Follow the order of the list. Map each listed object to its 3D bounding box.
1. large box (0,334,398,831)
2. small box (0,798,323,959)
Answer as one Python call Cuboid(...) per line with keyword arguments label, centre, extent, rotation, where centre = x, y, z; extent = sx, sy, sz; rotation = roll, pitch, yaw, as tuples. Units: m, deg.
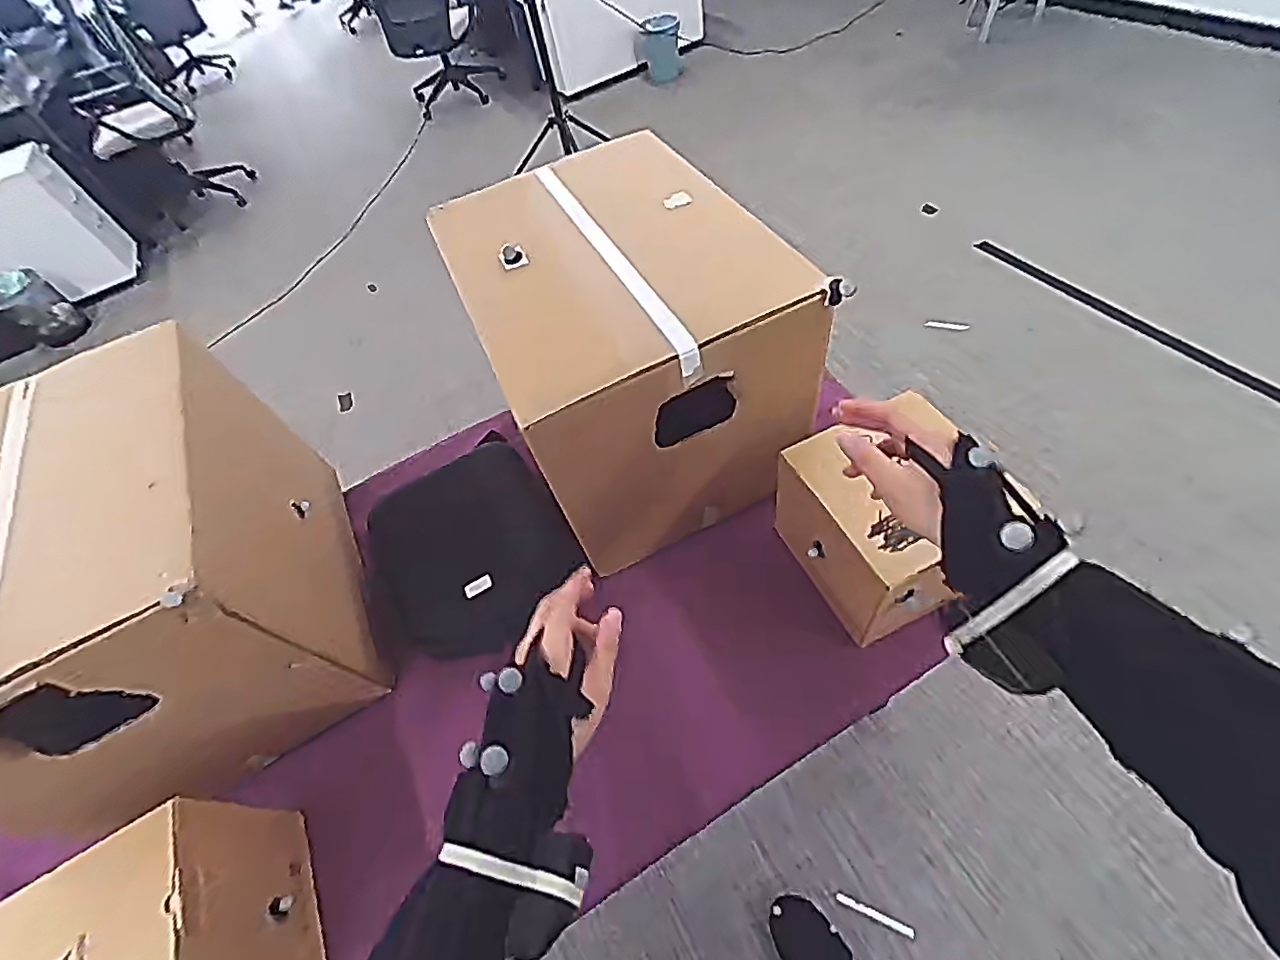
Cuboid(label="large box", centre=(-0.545, 0.114, 0.624), extent=(0.320, 0.320, 0.408), rotation=(-31, 58, -10))
Cuboid(label="small box", centre=(-0.420, 0.418, 0.473), extent=(0.179, 0.176, 0.168), rotation=(-31, 55, -11))
